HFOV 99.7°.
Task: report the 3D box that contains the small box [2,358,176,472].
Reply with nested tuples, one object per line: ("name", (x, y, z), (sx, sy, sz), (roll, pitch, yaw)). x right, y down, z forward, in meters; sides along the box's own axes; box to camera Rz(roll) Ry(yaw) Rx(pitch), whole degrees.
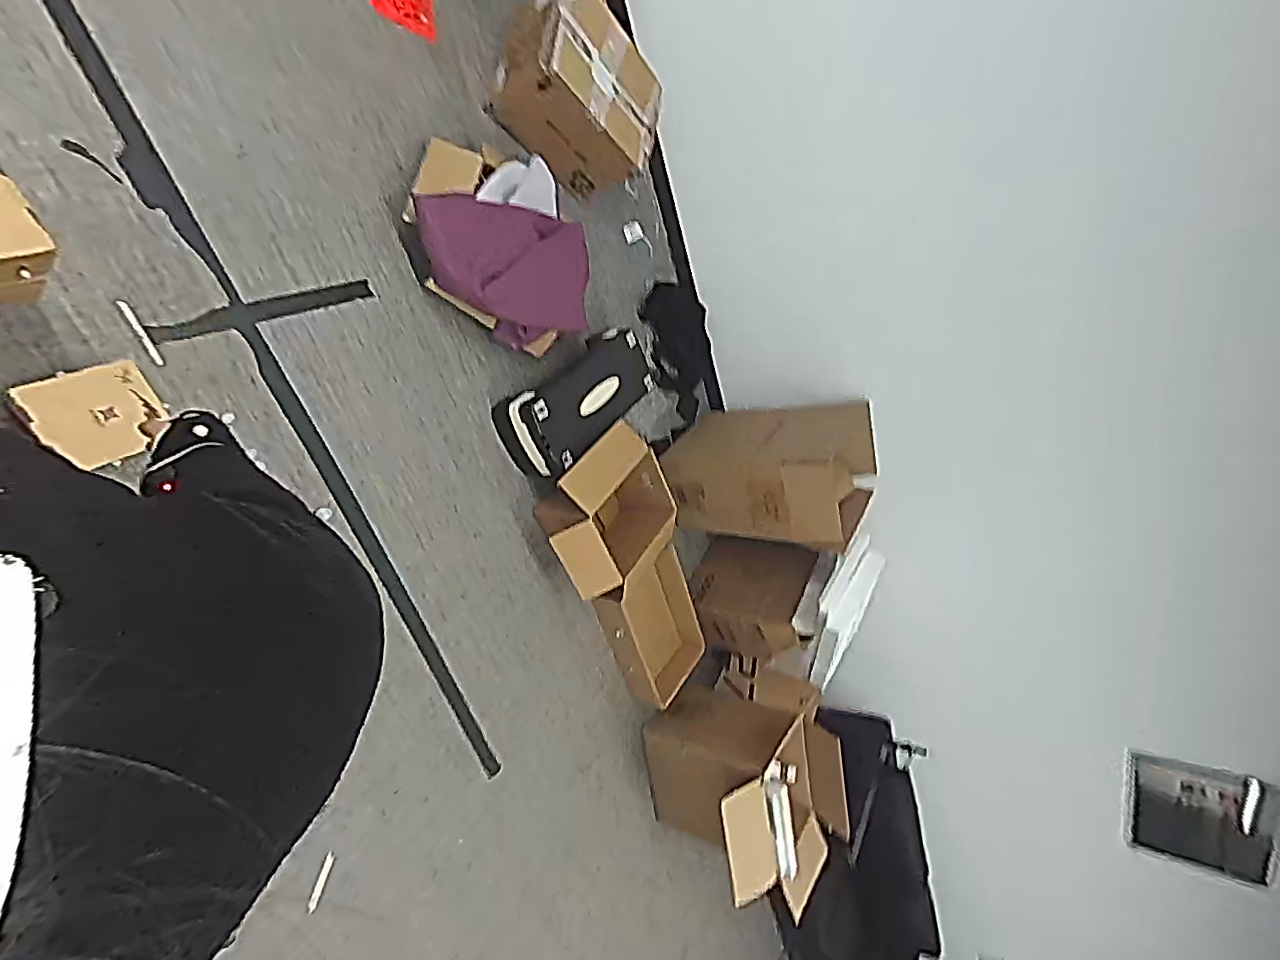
("small box", (-1.052, -0.121, 1.037), (0.179, 0.176, 0.168), (-39, 119, -44))

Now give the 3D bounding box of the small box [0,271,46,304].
("small box", (-1.159, -0.389, 0.897), (0.168, 0.176, 0.179), (-41, 122, -43))

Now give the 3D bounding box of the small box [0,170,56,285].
("small box", (-1.033, -0.382, 0.795), (0.179, 0.176, 0.168), (-43, 121, -41))
